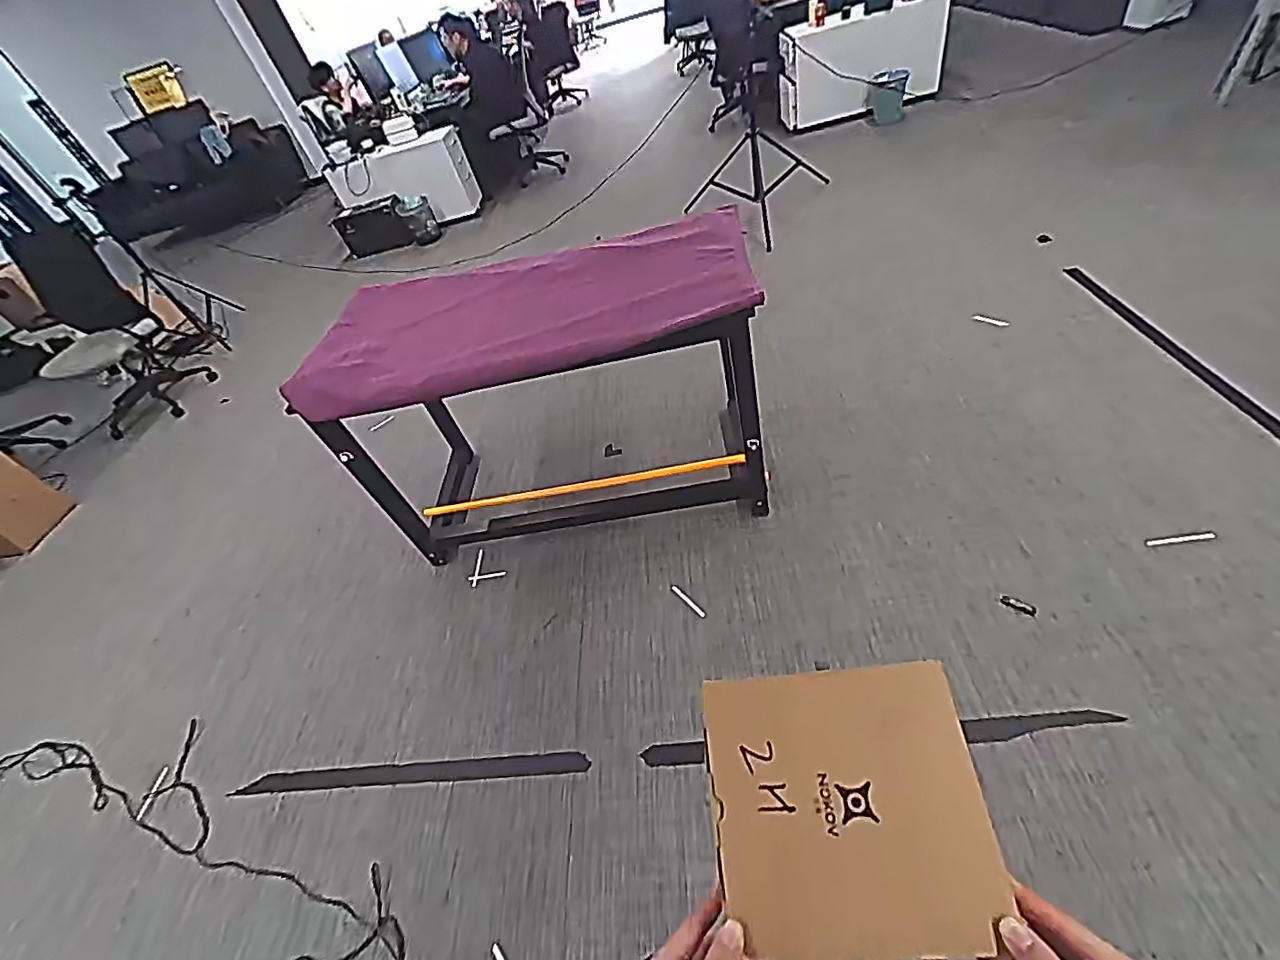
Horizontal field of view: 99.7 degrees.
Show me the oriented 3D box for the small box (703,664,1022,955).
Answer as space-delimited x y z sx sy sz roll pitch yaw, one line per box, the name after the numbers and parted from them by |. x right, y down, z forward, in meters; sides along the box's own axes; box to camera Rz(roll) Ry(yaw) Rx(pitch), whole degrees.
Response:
0.150 0.248 0.432 0.179 0.176 0.168 -8 62 9 | small box
